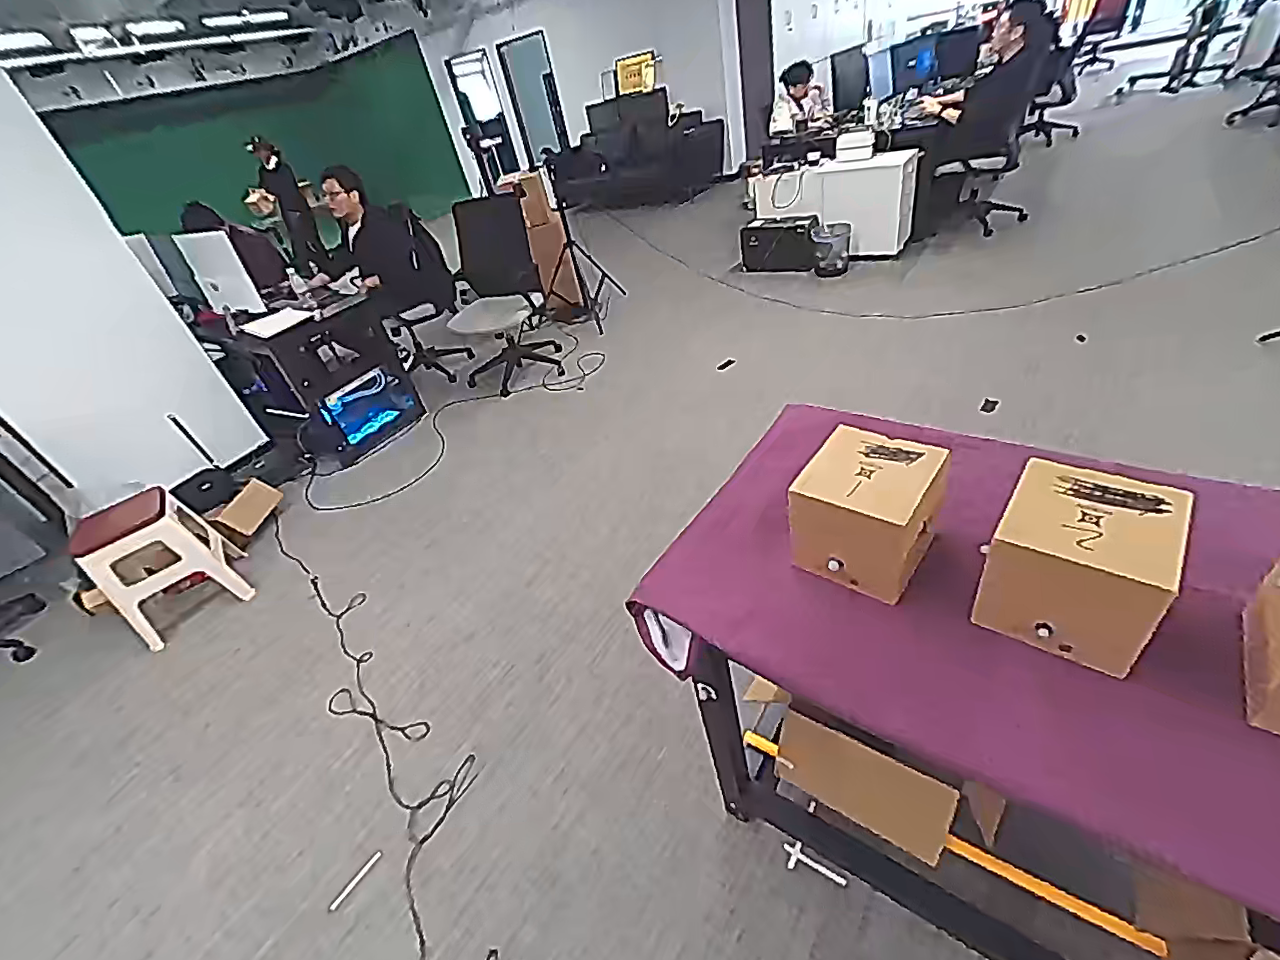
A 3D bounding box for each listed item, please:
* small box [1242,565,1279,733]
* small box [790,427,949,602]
[{"bbox_3d":[0.752,0.169,0.539,0.168,0.176,0.179,17,46,36],"label":"small box"},{"bbox_3d":[0.344,0.049,0.825,0.168,0.176,0.179,21,51,37],"label":"small box"}]
